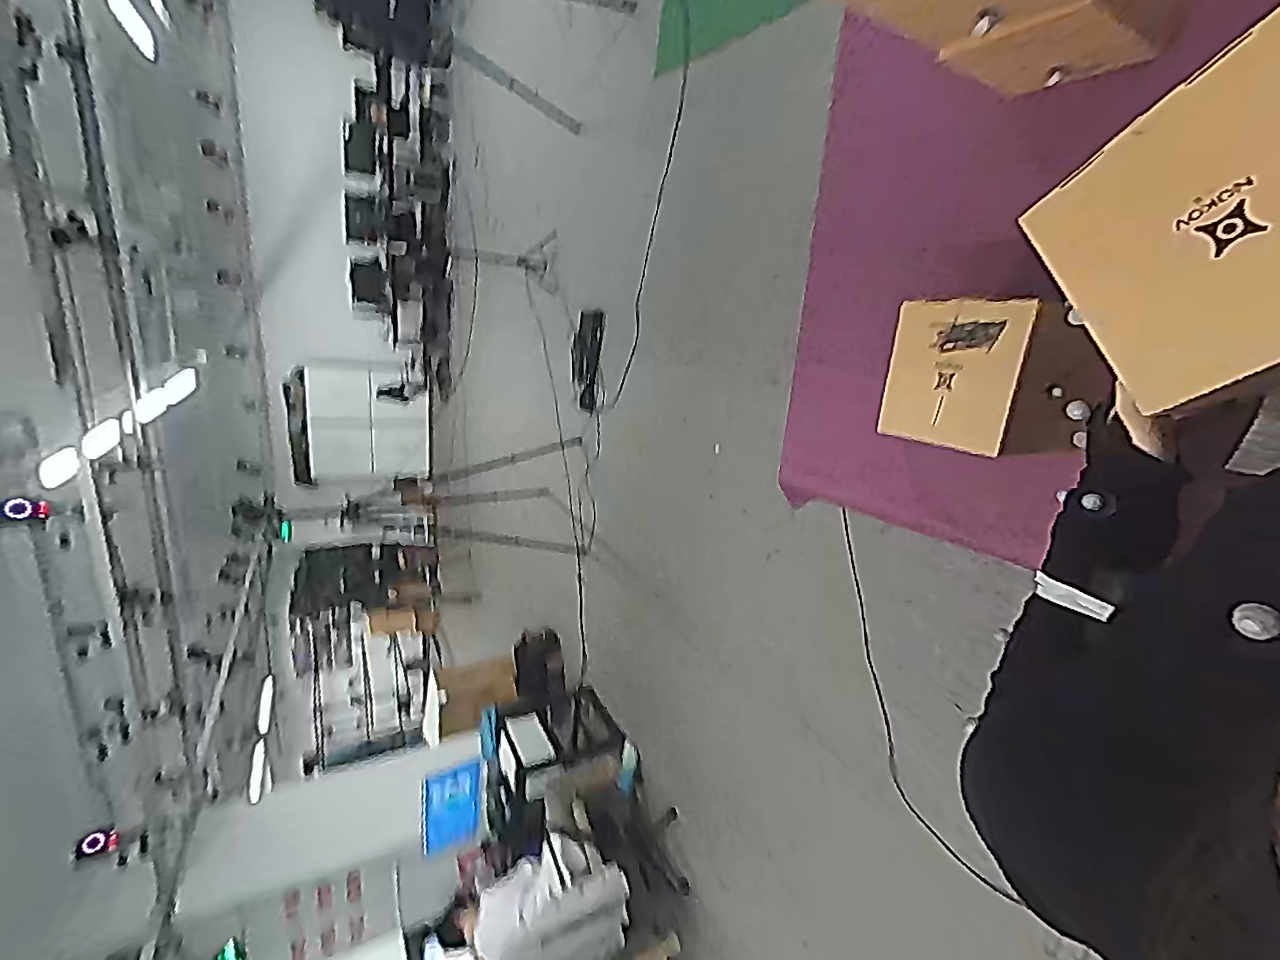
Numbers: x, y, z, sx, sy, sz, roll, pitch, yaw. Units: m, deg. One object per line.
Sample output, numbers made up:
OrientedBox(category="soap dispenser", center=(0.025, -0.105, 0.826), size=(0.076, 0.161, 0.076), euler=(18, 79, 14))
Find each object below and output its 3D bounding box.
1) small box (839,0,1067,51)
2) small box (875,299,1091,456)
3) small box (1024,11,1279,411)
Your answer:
OrientedBox(category="small box", center=(0.335, -0.562, 0.528), size=(0.179, 0.176, 0.168), euler=(35, 123, 53))
OrientedBox(category="small box", center=(0.447, -0.137, 0.710), size=(0.168, 0.176, 0.179), euler=(29, 118, 56))
OrientedBox(category="small box", center=(0.419, -0.164, 0.361), size=(0.168, 0.176, 0.179), euler=(-42, 60, 56))
